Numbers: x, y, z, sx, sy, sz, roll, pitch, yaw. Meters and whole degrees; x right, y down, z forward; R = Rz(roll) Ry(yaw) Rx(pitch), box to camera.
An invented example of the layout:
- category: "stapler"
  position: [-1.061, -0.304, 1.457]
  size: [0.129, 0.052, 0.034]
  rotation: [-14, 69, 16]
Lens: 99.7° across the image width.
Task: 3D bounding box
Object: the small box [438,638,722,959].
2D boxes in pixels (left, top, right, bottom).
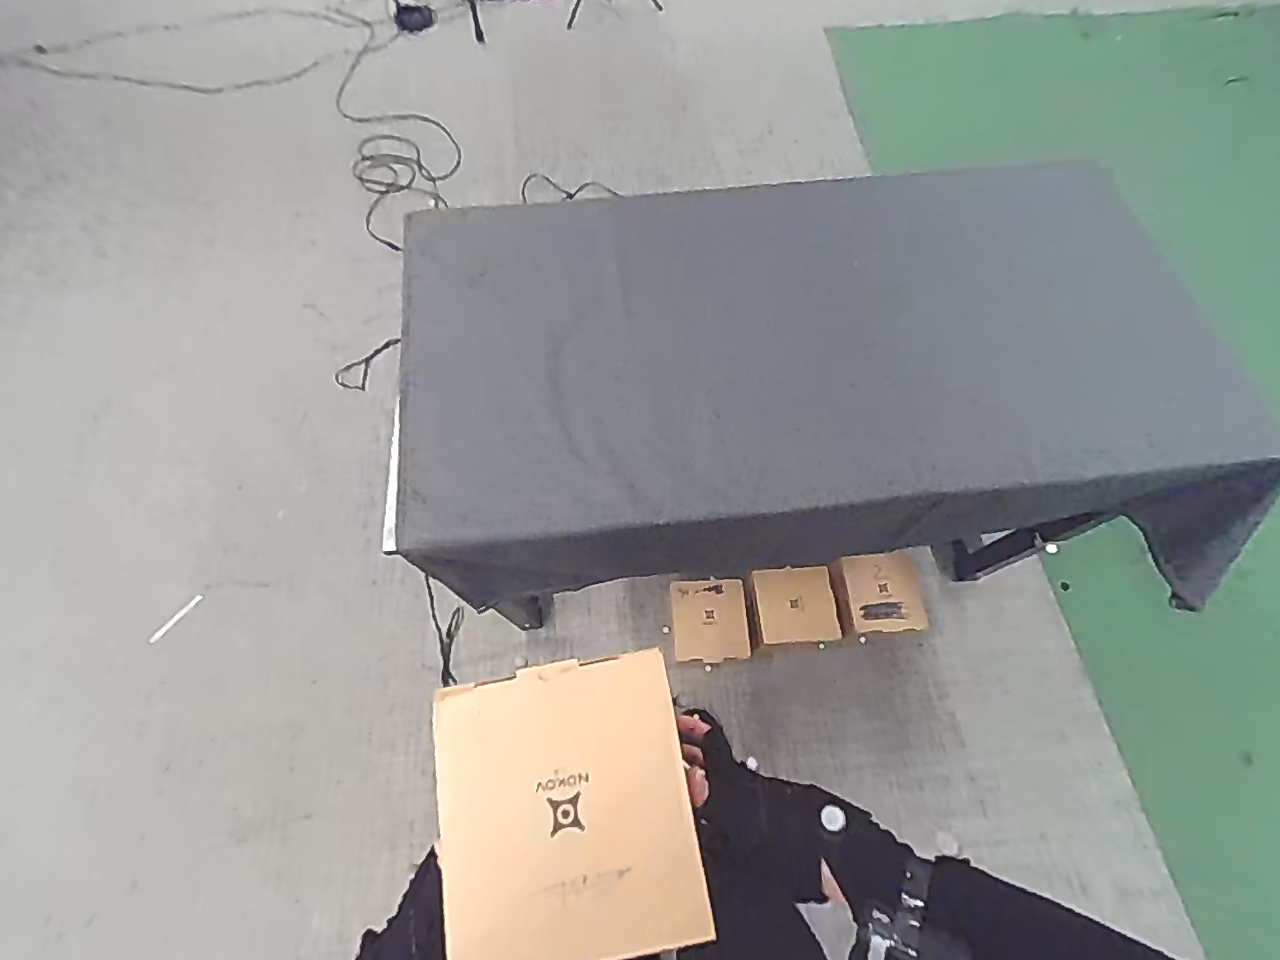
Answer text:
- category: "small box"
  position: [-0.043, 0.228, 0.419]
  size: [0.168, 0.176, 0.179]
  rotation: [-10, 72, -2]
